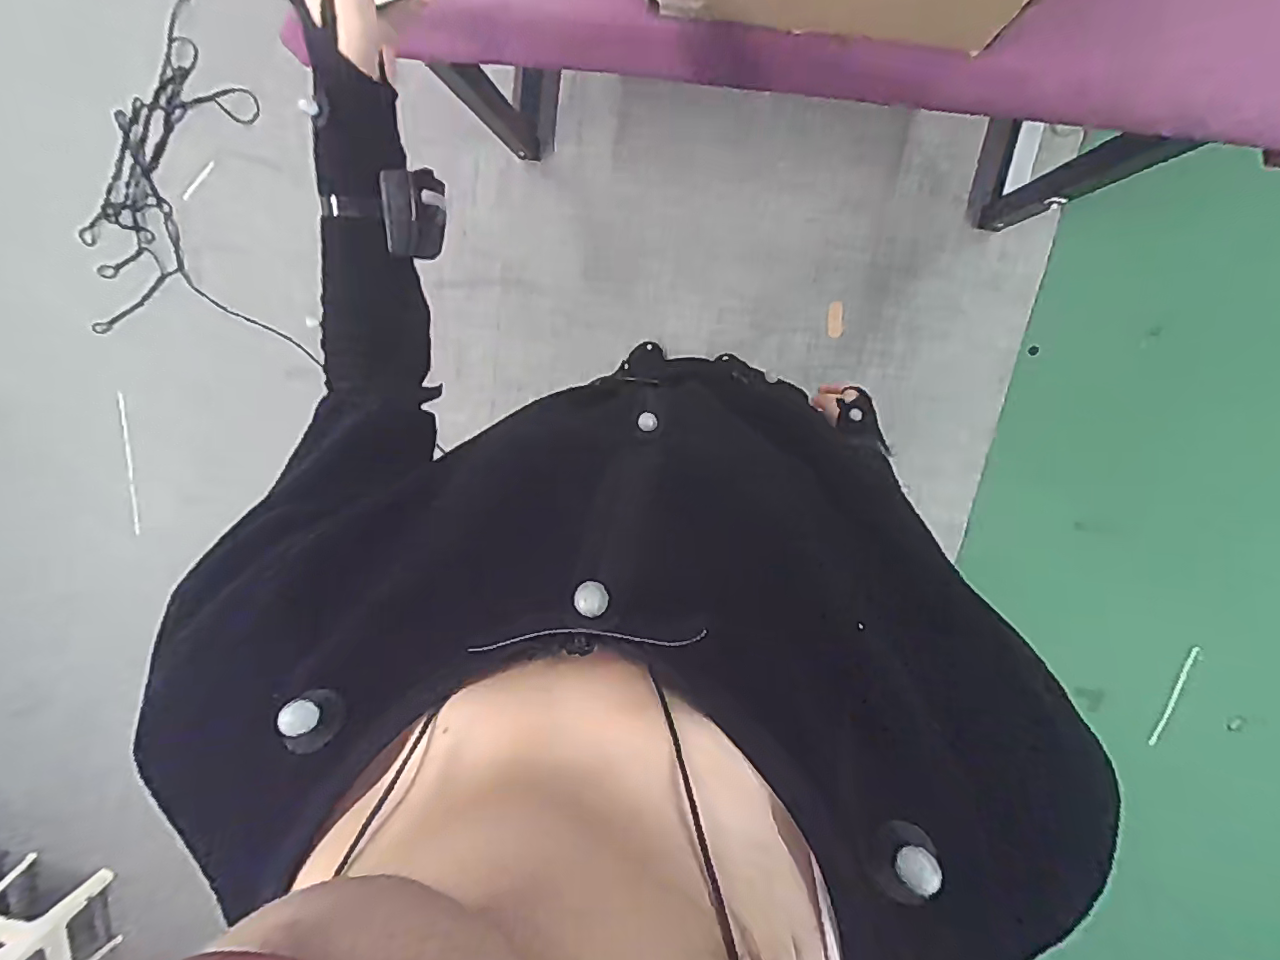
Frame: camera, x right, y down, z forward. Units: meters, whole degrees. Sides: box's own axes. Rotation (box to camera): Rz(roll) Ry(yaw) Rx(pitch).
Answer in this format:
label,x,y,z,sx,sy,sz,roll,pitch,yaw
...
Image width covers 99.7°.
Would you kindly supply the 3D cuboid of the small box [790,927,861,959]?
label,x,y,z,sx,sy,sz,roll,pitch,yaw
small box,0.472,1.276,1.356,0.168,0.176,0.179,1,102,7
